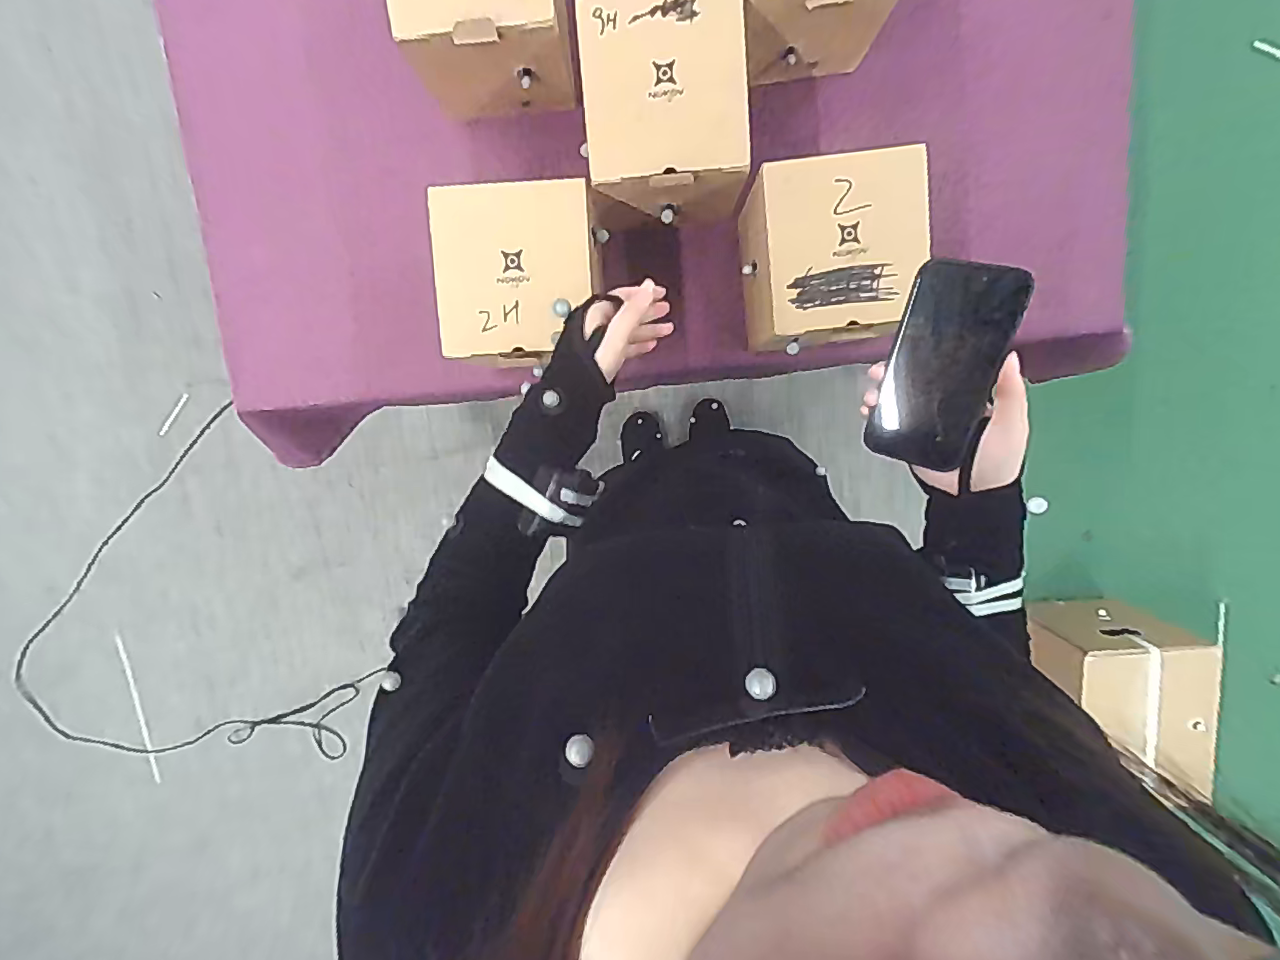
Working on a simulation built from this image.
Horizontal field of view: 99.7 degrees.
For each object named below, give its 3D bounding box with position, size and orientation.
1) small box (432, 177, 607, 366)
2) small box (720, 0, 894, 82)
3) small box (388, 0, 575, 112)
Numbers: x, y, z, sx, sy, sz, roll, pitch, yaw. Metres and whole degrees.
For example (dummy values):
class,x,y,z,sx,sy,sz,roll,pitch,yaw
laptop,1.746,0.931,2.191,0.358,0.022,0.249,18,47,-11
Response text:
class,x,y,z,sx,sy,sz,roll,pitch,yaw
small box,-0.130,-0.233,0.644,0.168,0.176,0.179,-2,98,2
small box,0.177,-0.582,0.587,0.168,0.176,0.179,-7,100,2
small box,-0.170,-0.540,0.601,0.168,0.176,0.179,-5,98,1
